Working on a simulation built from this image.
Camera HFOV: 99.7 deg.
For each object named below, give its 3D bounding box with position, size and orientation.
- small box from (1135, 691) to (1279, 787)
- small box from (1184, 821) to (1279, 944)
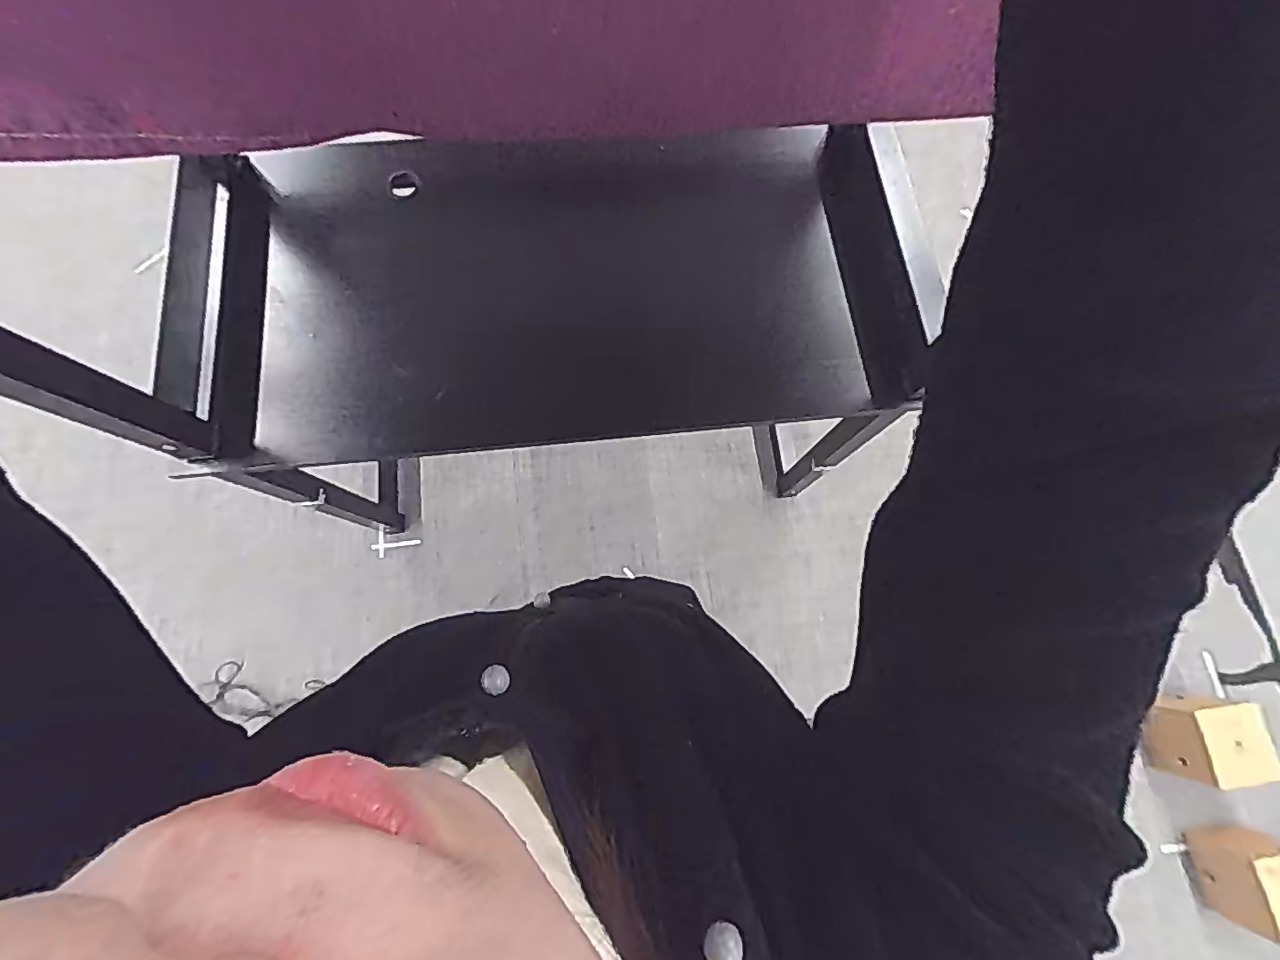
[{"bbox_3d":[1.425,0.648,1.368,0.168,0.176,0.179,-7,77,-3],"label":"small box"},{"bbox_3d":[1.485,0.955,1.296,0.168,0.176,0.179,-7,77,-3],"label":"small box"}]
